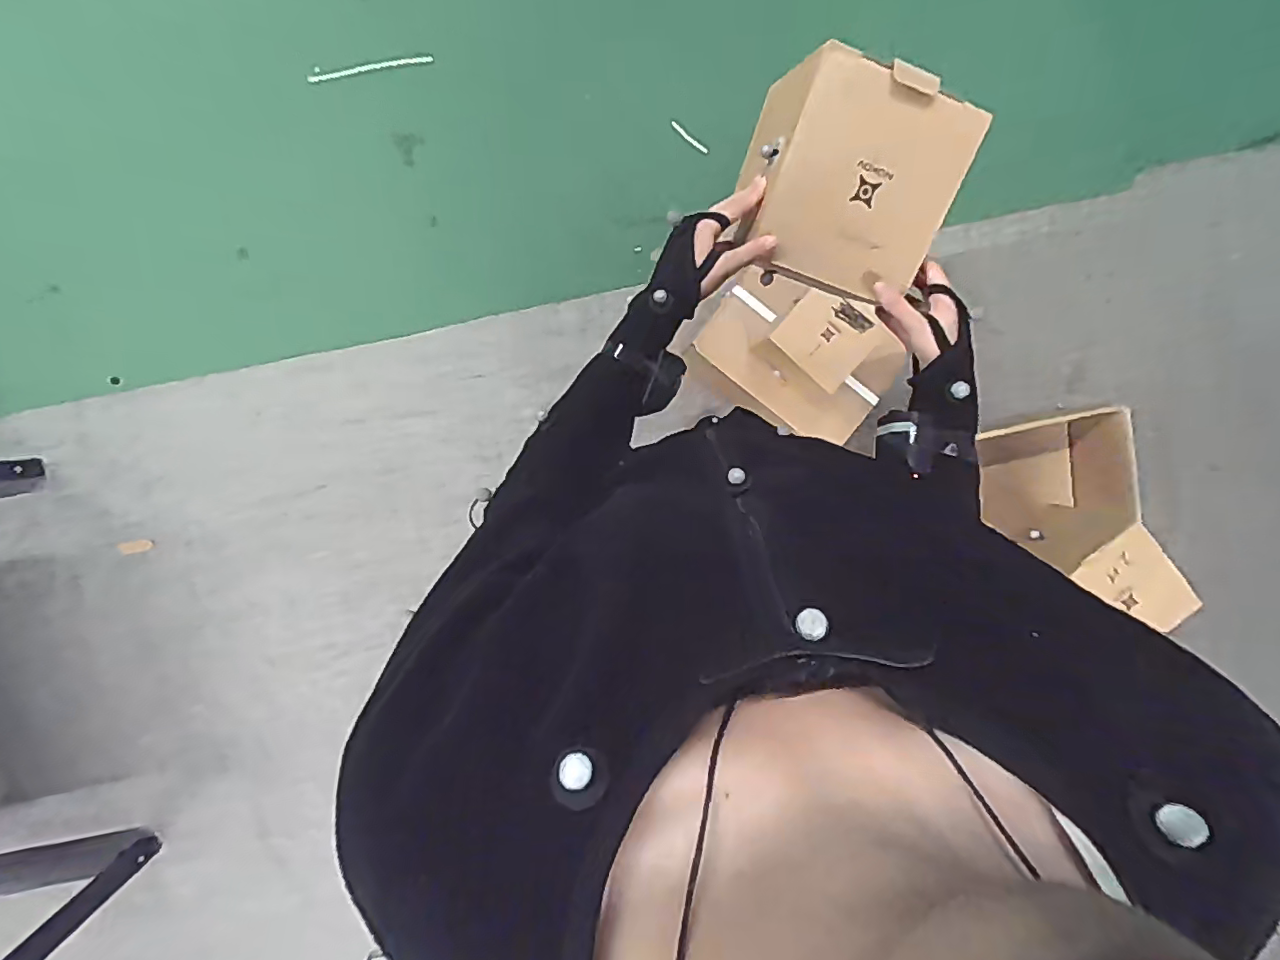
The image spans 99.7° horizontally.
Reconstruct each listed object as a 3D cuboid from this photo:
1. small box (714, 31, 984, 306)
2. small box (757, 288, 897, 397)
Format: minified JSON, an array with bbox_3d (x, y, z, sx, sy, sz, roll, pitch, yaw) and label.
[{"bbox_3d":[0.189,-0.297,0.553,0.168,0.176,0.179,15,112,-11],"label":"small box"},{"bbox_3d":[0.360,-0.284,1.079,0.168,0.176,0.179,41,94,-5],"label":"small box"}]
